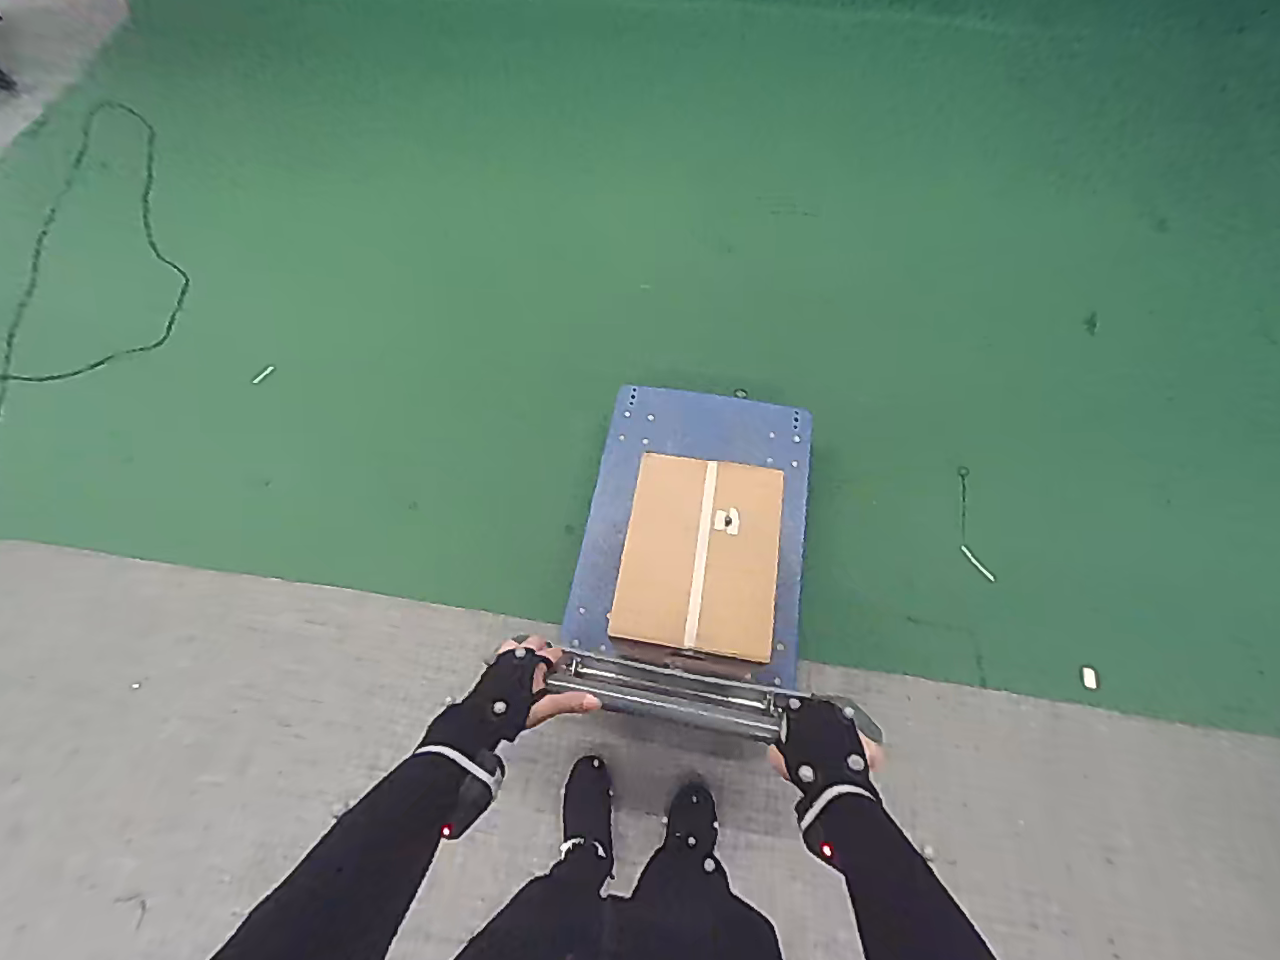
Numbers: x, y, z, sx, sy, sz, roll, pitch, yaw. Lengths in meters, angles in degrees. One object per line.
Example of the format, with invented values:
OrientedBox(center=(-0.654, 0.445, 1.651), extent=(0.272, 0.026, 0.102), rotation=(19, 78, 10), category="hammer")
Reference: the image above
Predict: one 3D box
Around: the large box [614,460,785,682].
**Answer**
OrientedBox(center=(0.137, 0.217, 1.235), extent=(0.320, 0.320, 0.408), rotation=(9, 65, 6), category="large box")
